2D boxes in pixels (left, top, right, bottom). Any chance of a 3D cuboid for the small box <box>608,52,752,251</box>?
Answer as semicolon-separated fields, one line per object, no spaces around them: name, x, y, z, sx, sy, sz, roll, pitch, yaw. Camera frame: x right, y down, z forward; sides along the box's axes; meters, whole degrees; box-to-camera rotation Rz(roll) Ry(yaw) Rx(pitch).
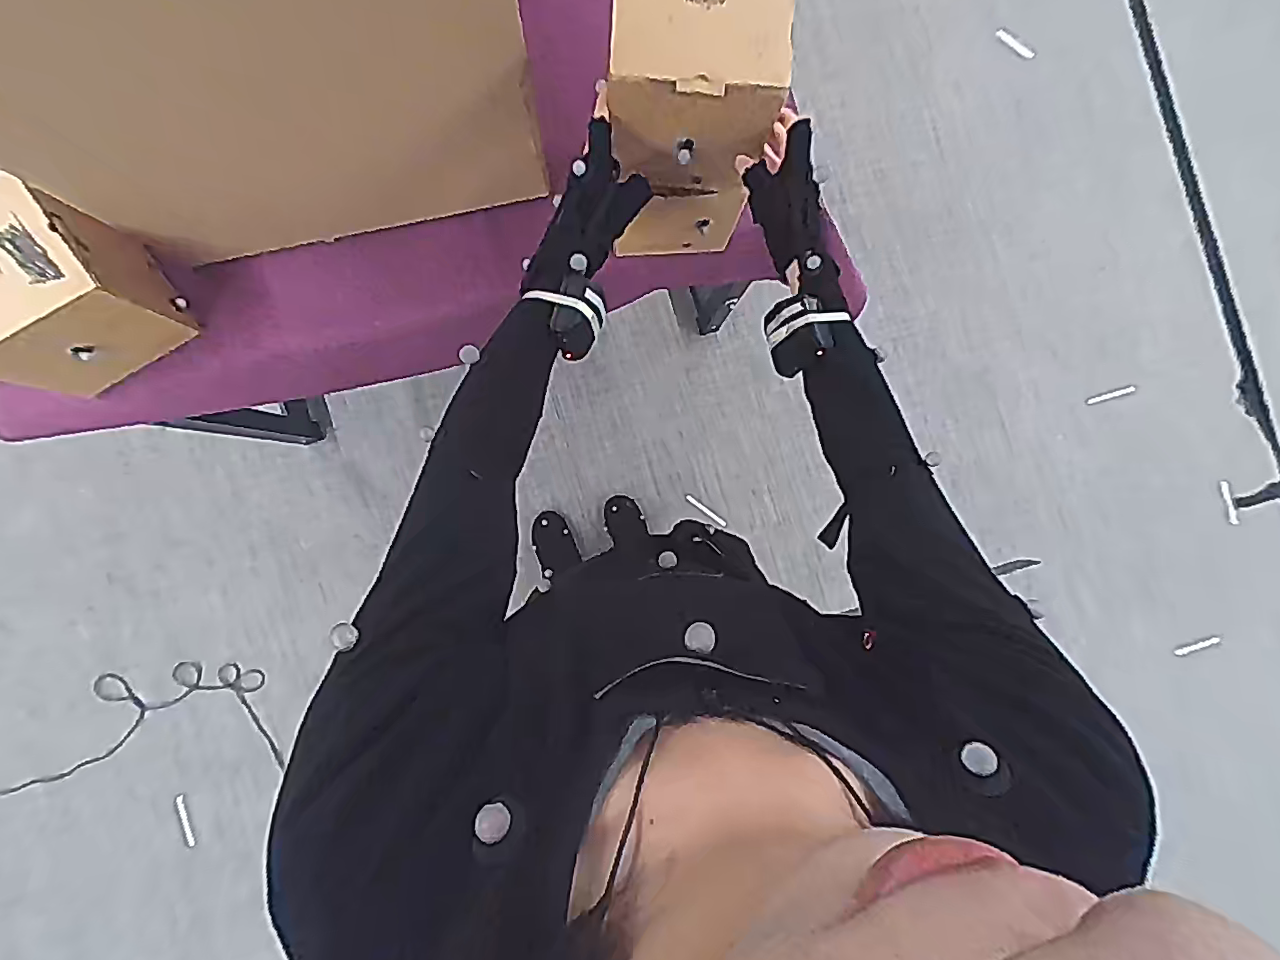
small box;0.045;-0.424;0.728;0.168;0.176;0.179;-4;88;-4
